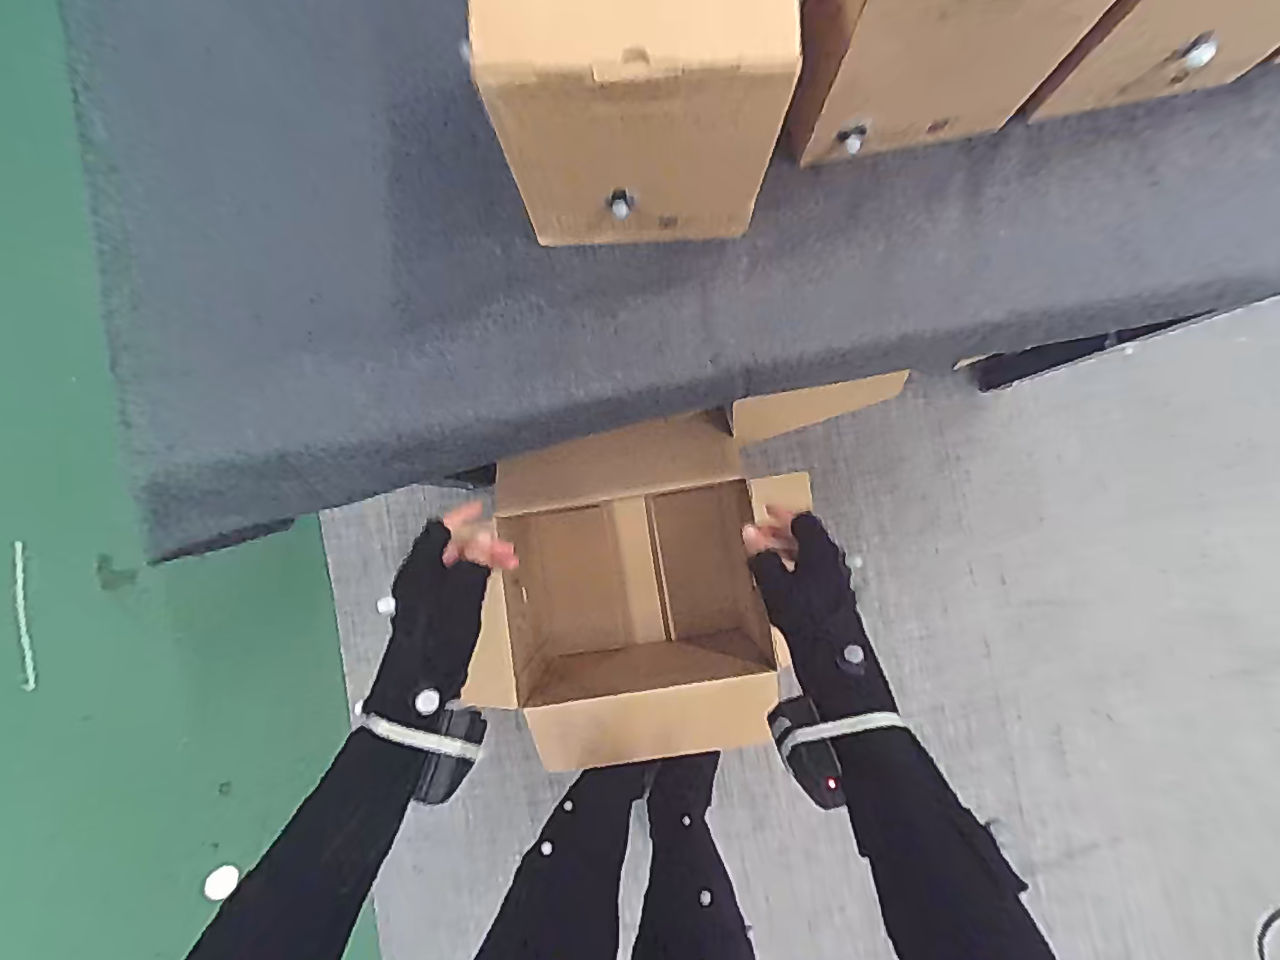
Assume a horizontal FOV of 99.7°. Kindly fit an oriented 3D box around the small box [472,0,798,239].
[{"bbox_3d":[-0.004,-0.285,0.354,0.168,0.176,0.179,-2,87,1],"label":"small box"}]
